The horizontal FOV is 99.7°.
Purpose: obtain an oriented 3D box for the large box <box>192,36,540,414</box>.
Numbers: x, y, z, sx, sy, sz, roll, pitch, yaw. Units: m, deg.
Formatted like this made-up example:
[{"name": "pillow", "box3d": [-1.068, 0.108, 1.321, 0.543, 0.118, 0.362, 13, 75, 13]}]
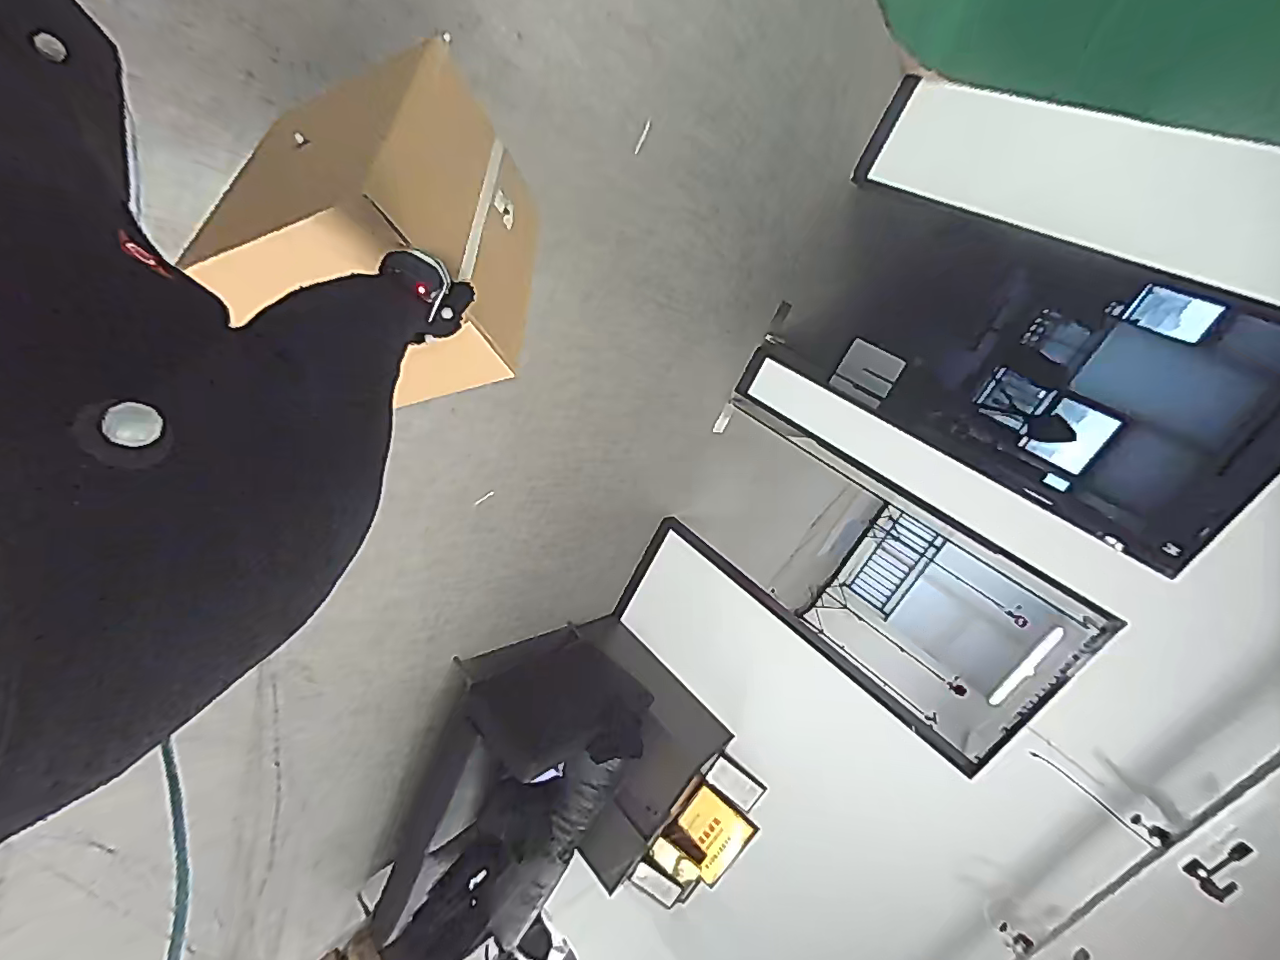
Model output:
[{"name": "large box", "box3d": [-0.384, -0.375, 0.854, 0.320, 0.408, 0.320, -11, 148, 17]}]
